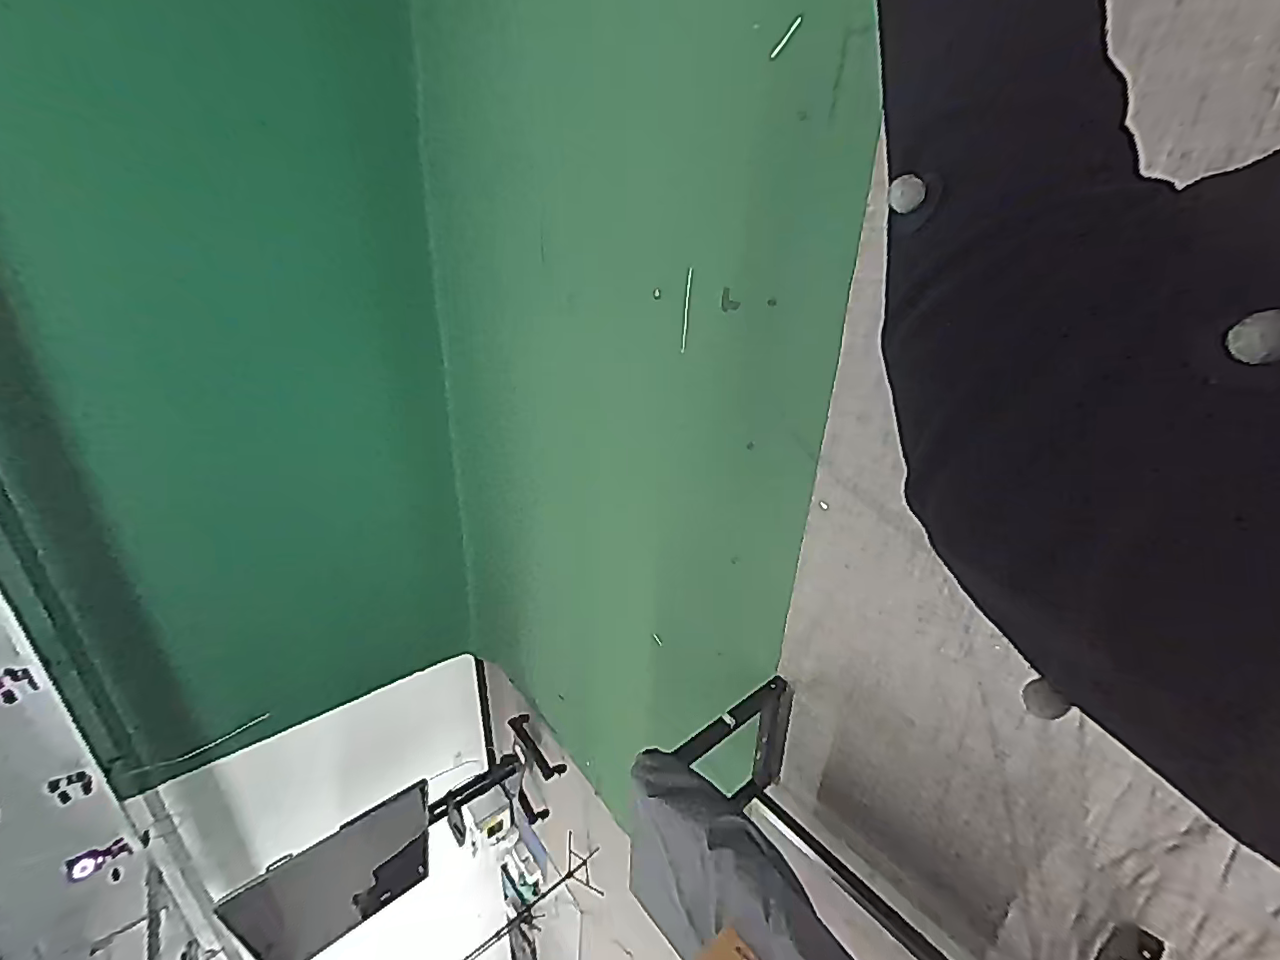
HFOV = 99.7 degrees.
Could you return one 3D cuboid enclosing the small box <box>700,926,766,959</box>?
[{"bbox_3d":[0.248,1.336,1.408,0.168,0.176,0.179,22,120,45],"label":"small box"}]
